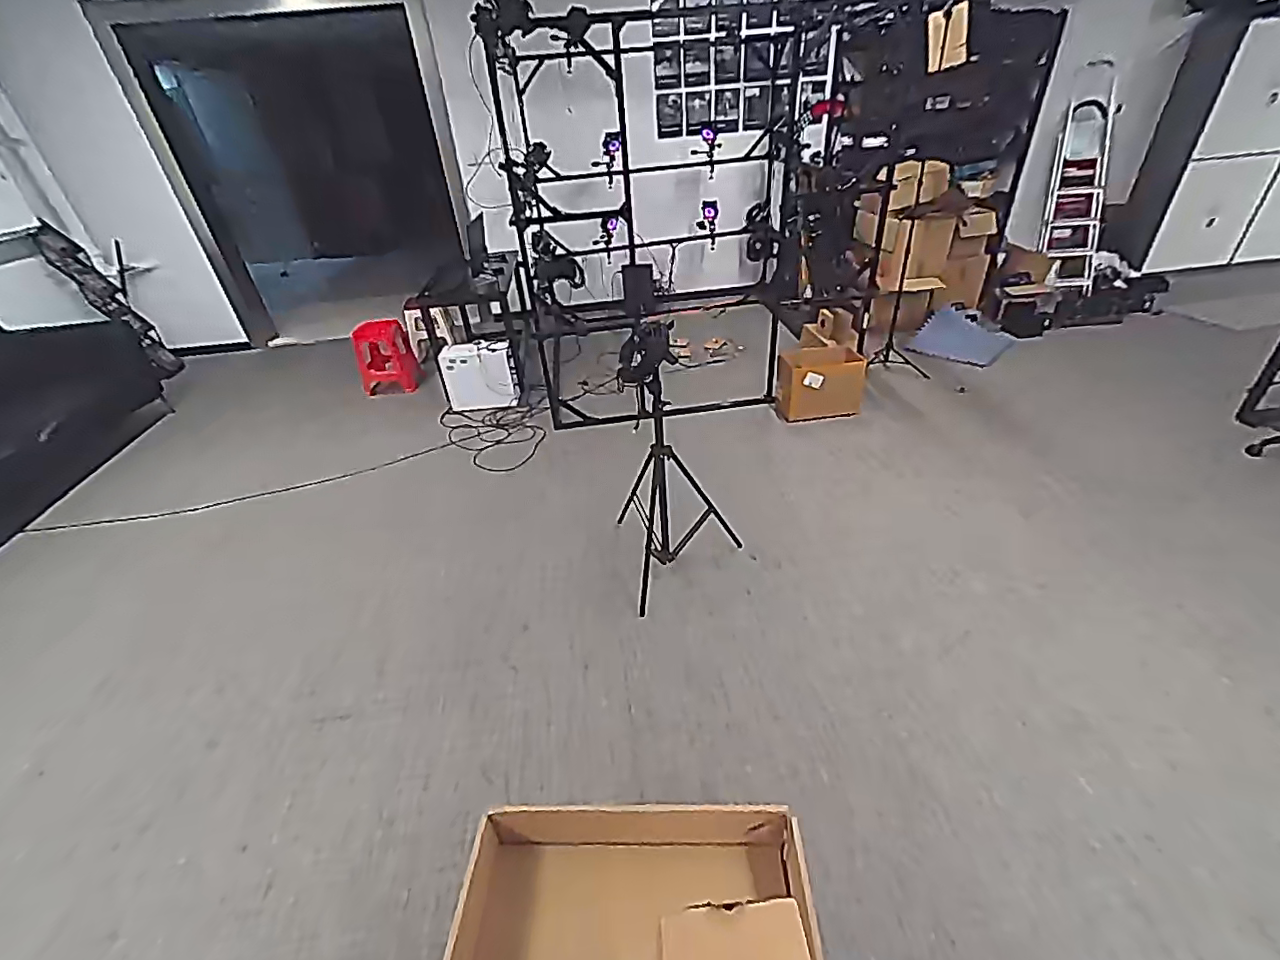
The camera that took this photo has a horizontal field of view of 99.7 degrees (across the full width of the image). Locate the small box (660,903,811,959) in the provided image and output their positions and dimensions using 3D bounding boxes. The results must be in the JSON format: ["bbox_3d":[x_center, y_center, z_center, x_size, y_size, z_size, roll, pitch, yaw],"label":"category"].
[{"bbox_3d":[0.110,0.617,0.607,0.168,0.176,0.179,-3,34,-3],"label":"small box"}]
